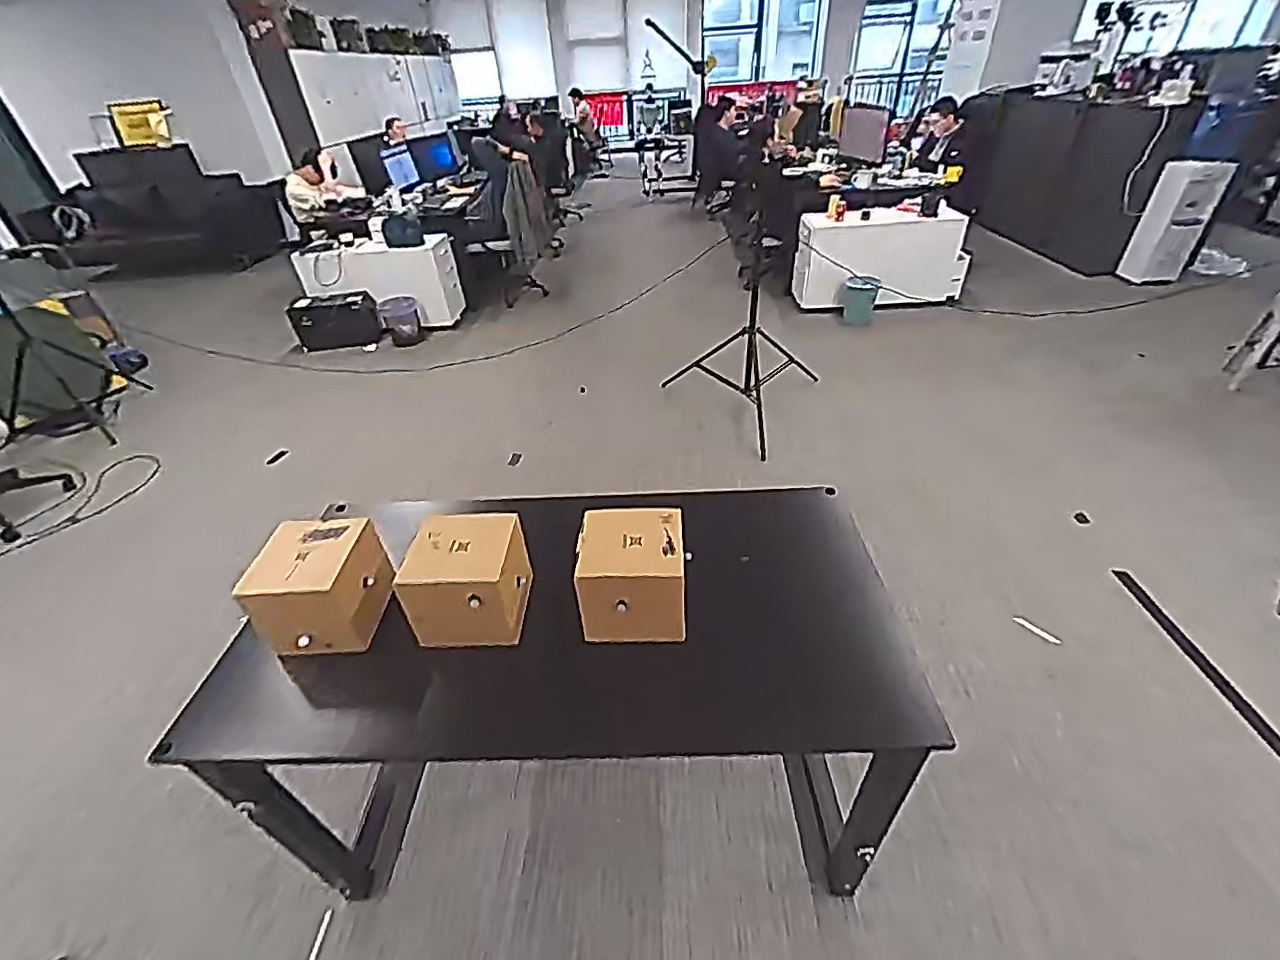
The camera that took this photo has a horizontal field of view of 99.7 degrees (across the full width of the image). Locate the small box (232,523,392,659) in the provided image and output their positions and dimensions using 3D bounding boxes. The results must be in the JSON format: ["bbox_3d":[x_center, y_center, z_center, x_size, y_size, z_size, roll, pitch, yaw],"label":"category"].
[{"bbox_3d":[-0.575,0.200,0.982,0.168,0.176,0.179,-4,38,1],"label":"small box"}]

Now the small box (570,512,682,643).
[{"bbox_3d":[-0.016,0.175,0.963,0.179,0.176,0.168,-2,37,4],"label":"small box"}]

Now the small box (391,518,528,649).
[{"bbox_3d":[-0.309,0.187,0.972,0.179,0.176,0.168,-2,37,2],"label":"small box"}]
